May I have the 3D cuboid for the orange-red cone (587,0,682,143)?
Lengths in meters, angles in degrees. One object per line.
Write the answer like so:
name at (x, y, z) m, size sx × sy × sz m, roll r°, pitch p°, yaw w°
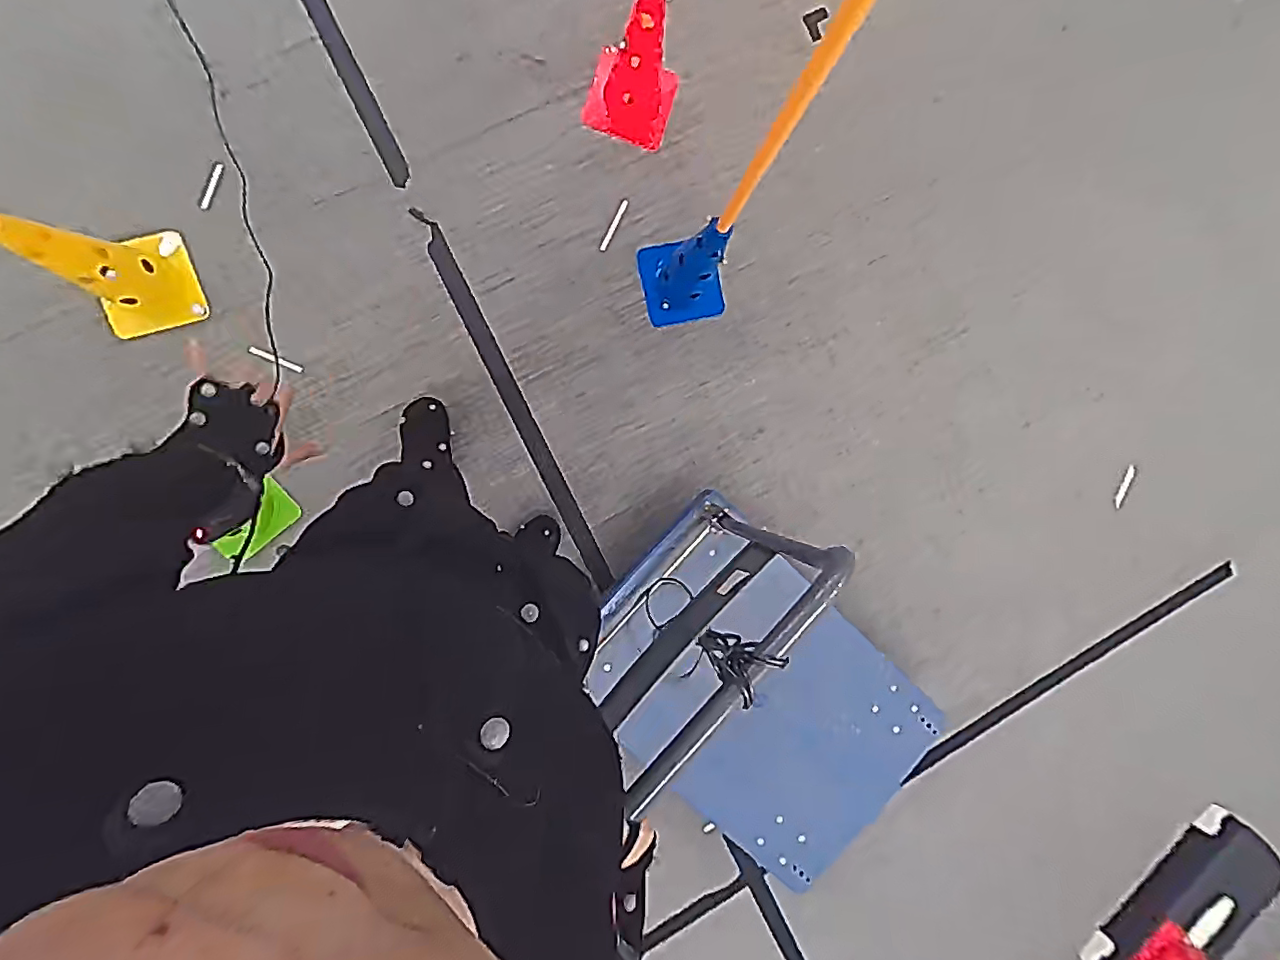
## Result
orange-red cone at (0.010, -0.928, 1.140) m, size 0.198 × 0.360 × 0.199 m, roll 19°, pitch 92°, yaw -8°

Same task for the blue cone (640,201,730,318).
blue cone at (0.129, -0.504, 1.196) m, size 0.193 × 0.380 × 0.192 m, roll -12°, pitch 94°, yaw -8°

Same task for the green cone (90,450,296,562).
green cone at (-0.896, 0.067, 1.060) m, size 0.200 × 0.368 × 0.202 m, roll -41°, pitch 97°, yaw -5°
